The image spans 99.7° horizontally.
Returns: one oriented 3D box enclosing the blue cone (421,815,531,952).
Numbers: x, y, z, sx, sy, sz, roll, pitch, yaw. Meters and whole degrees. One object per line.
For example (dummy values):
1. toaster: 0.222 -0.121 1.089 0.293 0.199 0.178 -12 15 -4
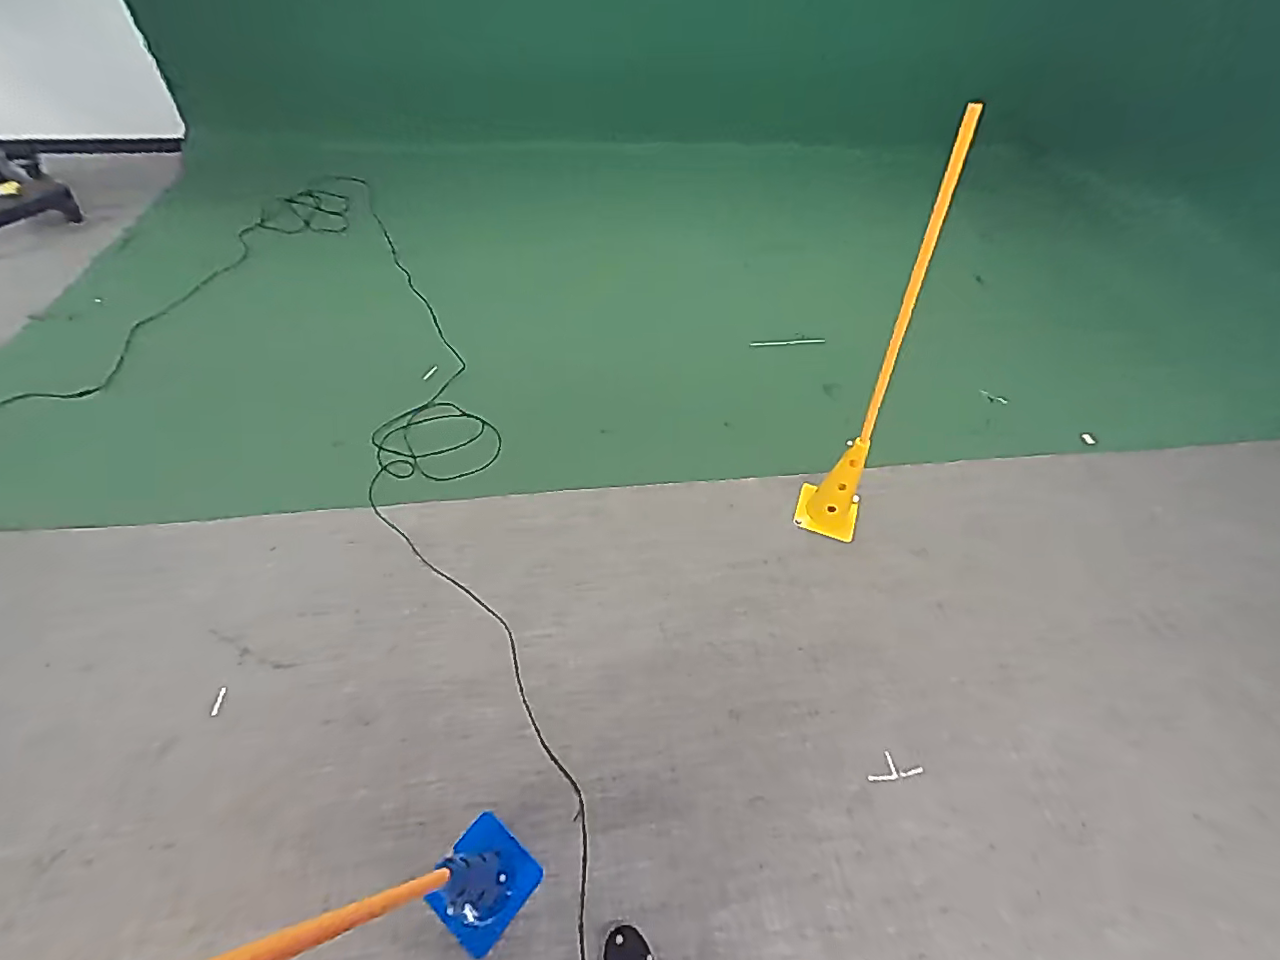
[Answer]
1. blue cone: -0.345 0.768 1.038 0.192 0.380 0.193 33 58 20
